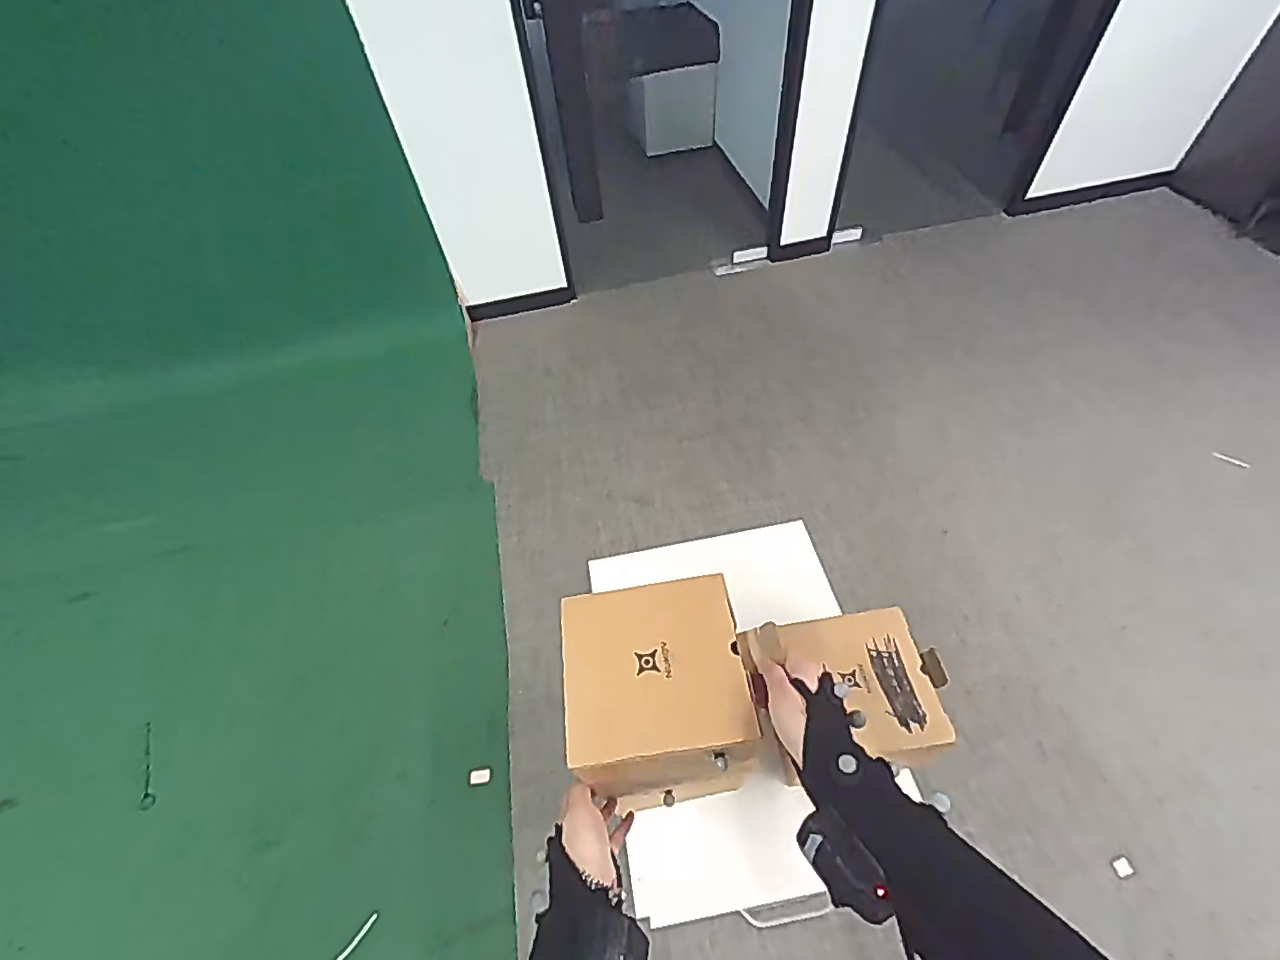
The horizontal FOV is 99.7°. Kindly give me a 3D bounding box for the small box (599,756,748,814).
[{"bbox_3d":[0.032,0.326,0.718,0.179,0.176,0.168,-10,52,-4],"label":"small box"}]

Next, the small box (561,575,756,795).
[{"bbox_3d":[0.018,0.226,0.585,0.179,0.176,0.168,-8,51,0],"label":"small box"}]
